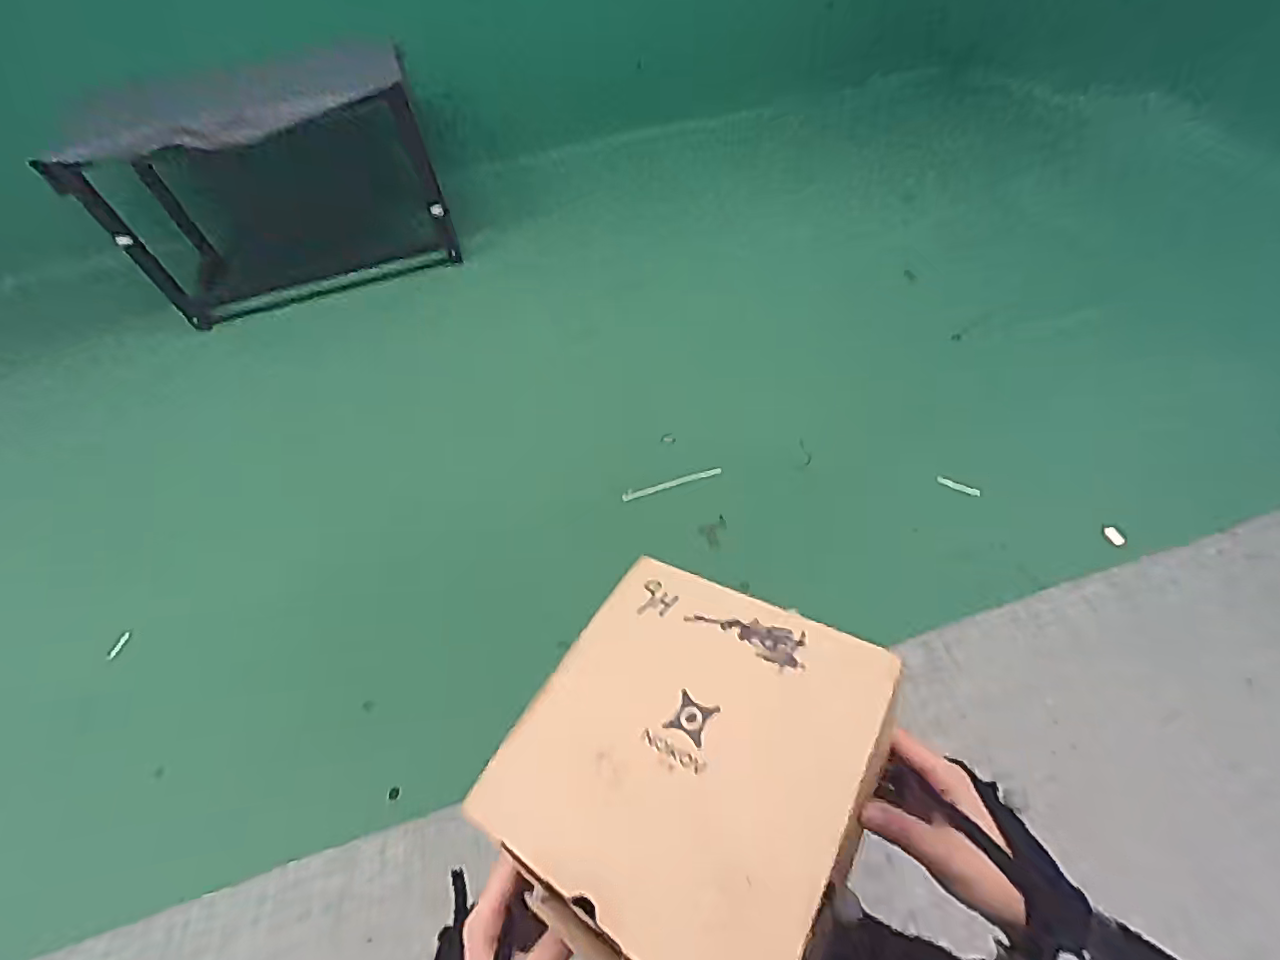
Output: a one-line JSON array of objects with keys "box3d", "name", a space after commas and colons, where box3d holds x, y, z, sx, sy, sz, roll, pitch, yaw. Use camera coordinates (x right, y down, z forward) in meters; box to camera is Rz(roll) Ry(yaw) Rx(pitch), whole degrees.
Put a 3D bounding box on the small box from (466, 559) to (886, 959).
[{"box3d": [0.038, 0.186, 0.333, 0.168, 0.176, 0.179, 17, 53, 32], "name": "small box"}]
